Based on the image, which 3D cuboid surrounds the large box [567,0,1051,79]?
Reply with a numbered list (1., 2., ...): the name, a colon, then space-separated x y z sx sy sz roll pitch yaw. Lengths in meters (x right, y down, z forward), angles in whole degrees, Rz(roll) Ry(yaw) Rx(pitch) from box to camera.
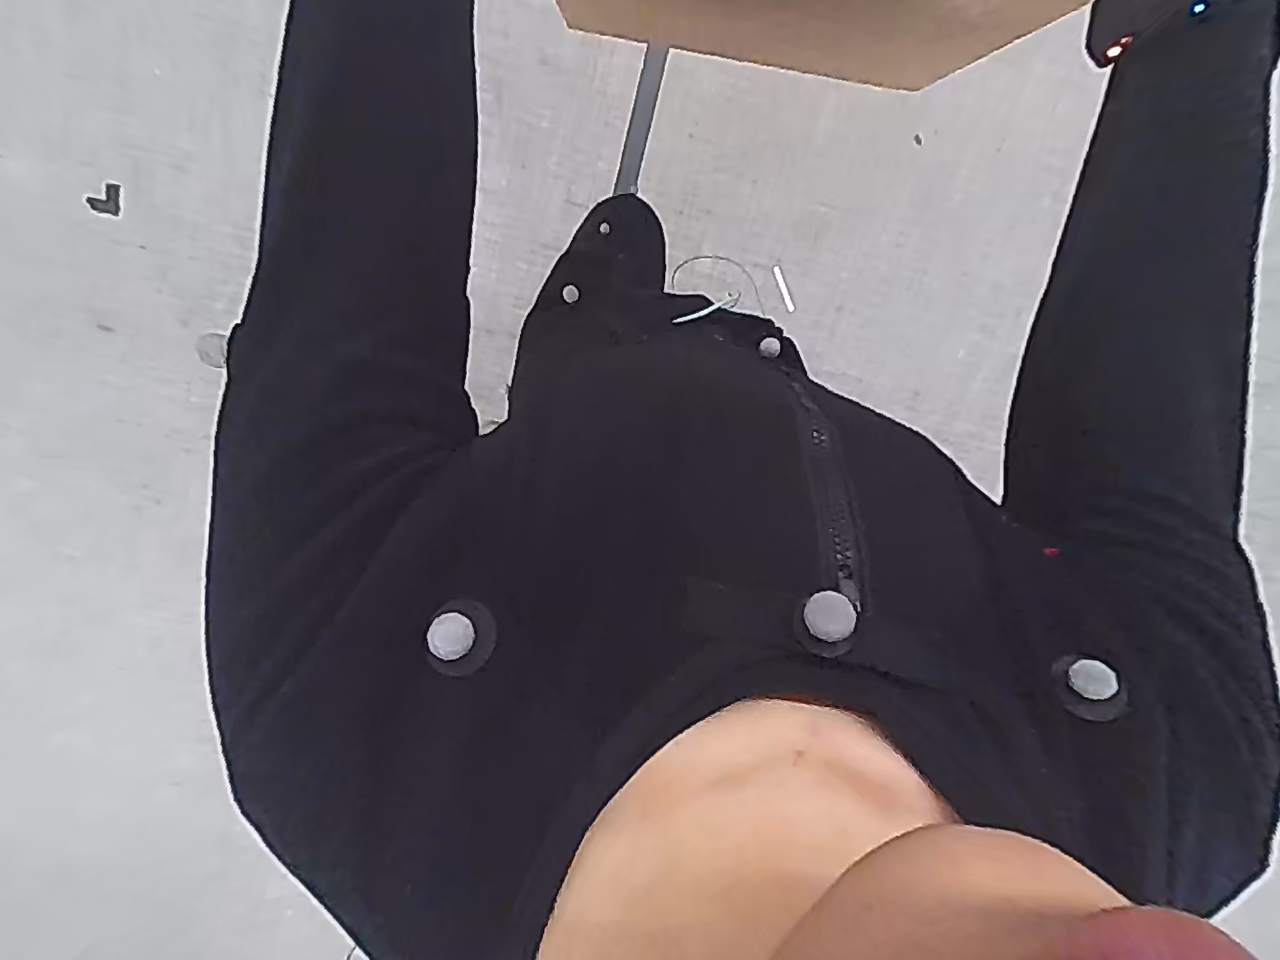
1. large box: 0.137 -0.554 0.412 0.408 0.320 0.320 9 116 -2
